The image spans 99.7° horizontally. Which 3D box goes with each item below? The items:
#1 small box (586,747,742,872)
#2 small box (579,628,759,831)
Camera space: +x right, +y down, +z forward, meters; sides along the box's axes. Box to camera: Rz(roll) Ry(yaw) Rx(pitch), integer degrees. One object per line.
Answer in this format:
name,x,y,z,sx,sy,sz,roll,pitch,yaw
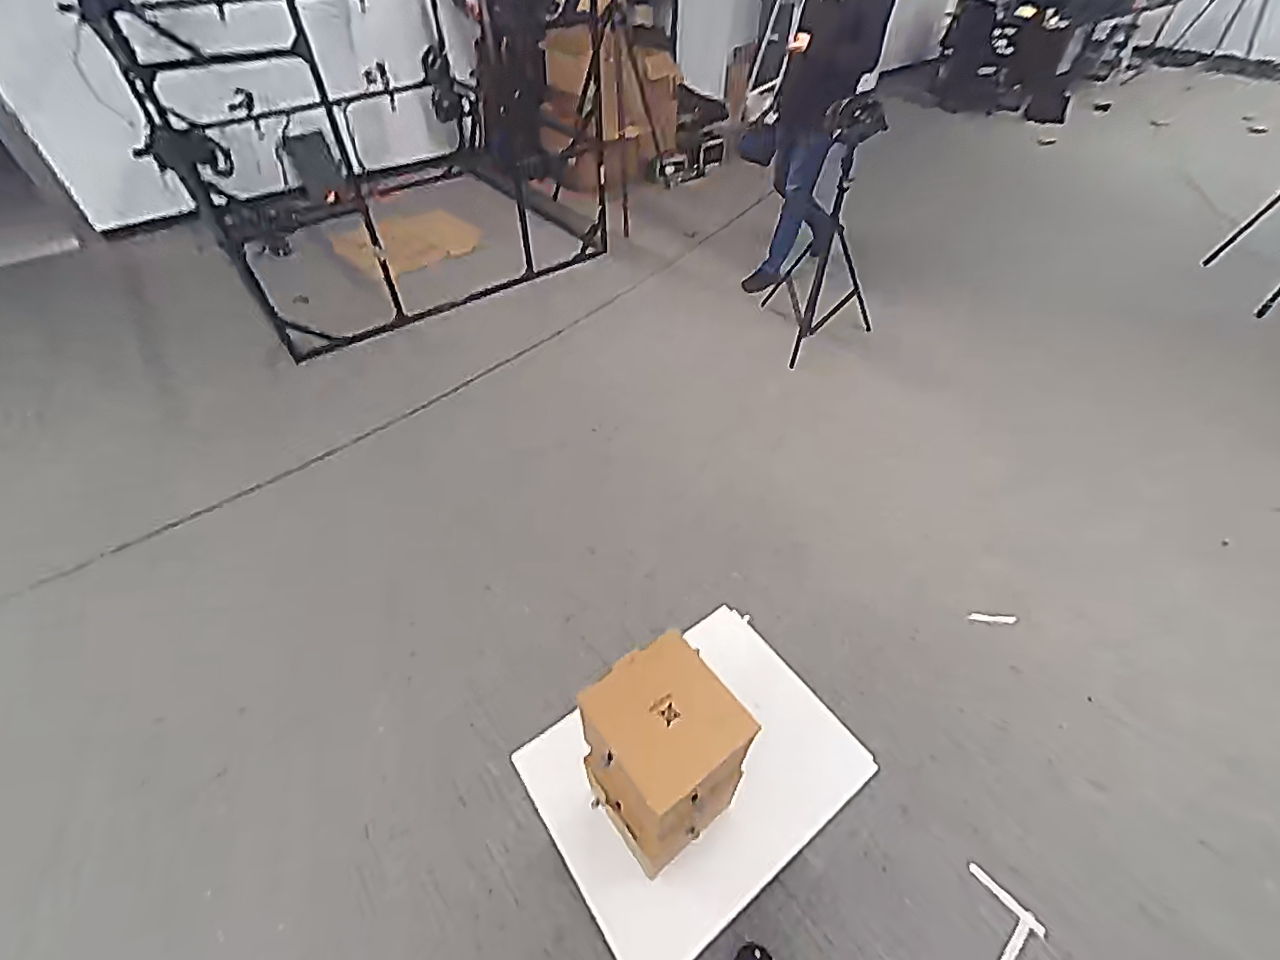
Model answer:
small box,0.036,0.472,0.852,0.179,0.176,0.168,-29,53,-26
small box,0.037,0.348,0.746,0.168,0.176,0.179,-29,52,-25
